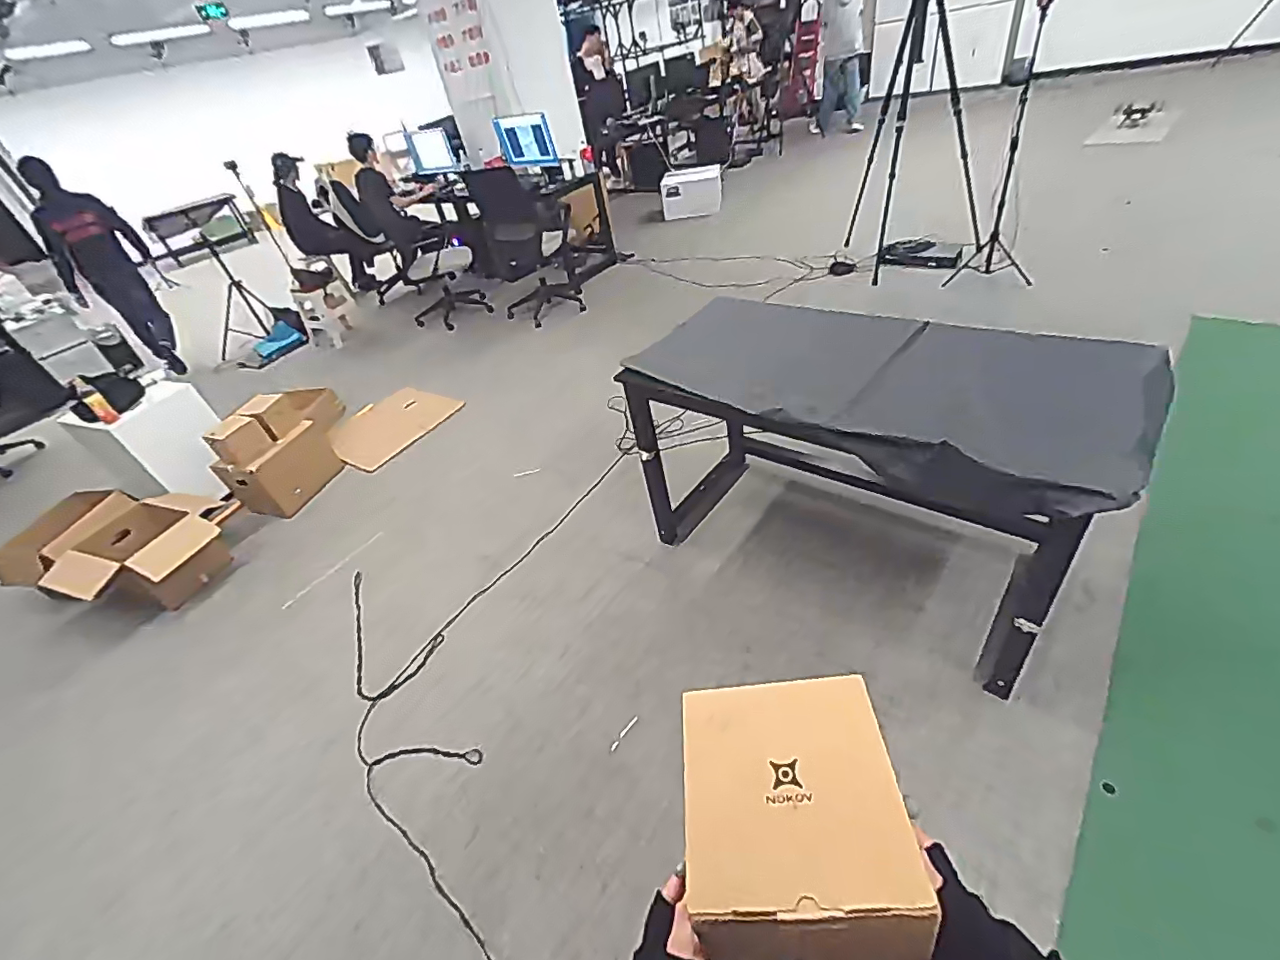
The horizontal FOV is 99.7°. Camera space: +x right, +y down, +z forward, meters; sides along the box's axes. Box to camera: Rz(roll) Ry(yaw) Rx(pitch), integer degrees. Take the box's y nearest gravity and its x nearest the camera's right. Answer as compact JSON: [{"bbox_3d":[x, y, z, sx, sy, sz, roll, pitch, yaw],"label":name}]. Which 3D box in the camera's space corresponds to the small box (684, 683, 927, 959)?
[{"bbox_3d":[0.133,0.312,0.484,0.168,0.176,0.179,-9,35,10],"label":"small box"}]
